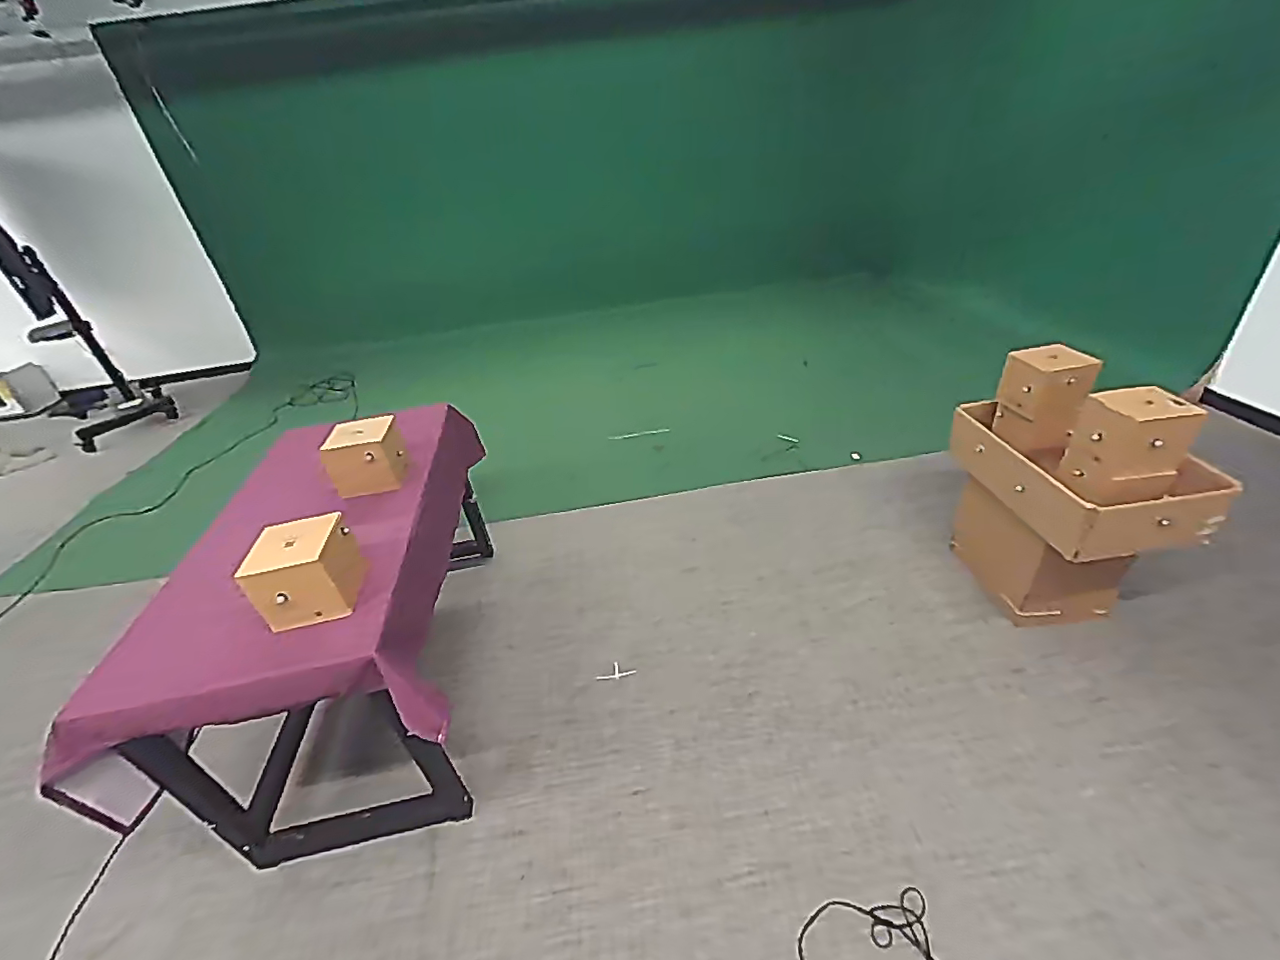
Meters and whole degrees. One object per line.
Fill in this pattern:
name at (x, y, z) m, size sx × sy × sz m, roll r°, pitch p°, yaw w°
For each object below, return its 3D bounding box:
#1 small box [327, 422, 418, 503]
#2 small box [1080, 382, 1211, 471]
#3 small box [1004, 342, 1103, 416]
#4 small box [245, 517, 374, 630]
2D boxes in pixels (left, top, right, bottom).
small box at (-0.793, -0.053, 1.627) m, size 0.179 × 0.176 × 0.168 m, roll -11°, pitch 33°, yaw -2°
small box at (1.301, -0.137, 1.413) m, size 0.179 × 0.176 × 0.168 m, roll -8°, pitch 34°, yaw 2°
small box at (1.276, -0.313, 1.686) m, size 0.179 × 0.176 × 0.168 m, roll -11°, pitch 34°, yaw -3°
small box at (-0.721, 0.213, 1.206) m, size 0.168 × 0.176 × 0.179 m, roll -13°, pitch 32°, yaw -5°
